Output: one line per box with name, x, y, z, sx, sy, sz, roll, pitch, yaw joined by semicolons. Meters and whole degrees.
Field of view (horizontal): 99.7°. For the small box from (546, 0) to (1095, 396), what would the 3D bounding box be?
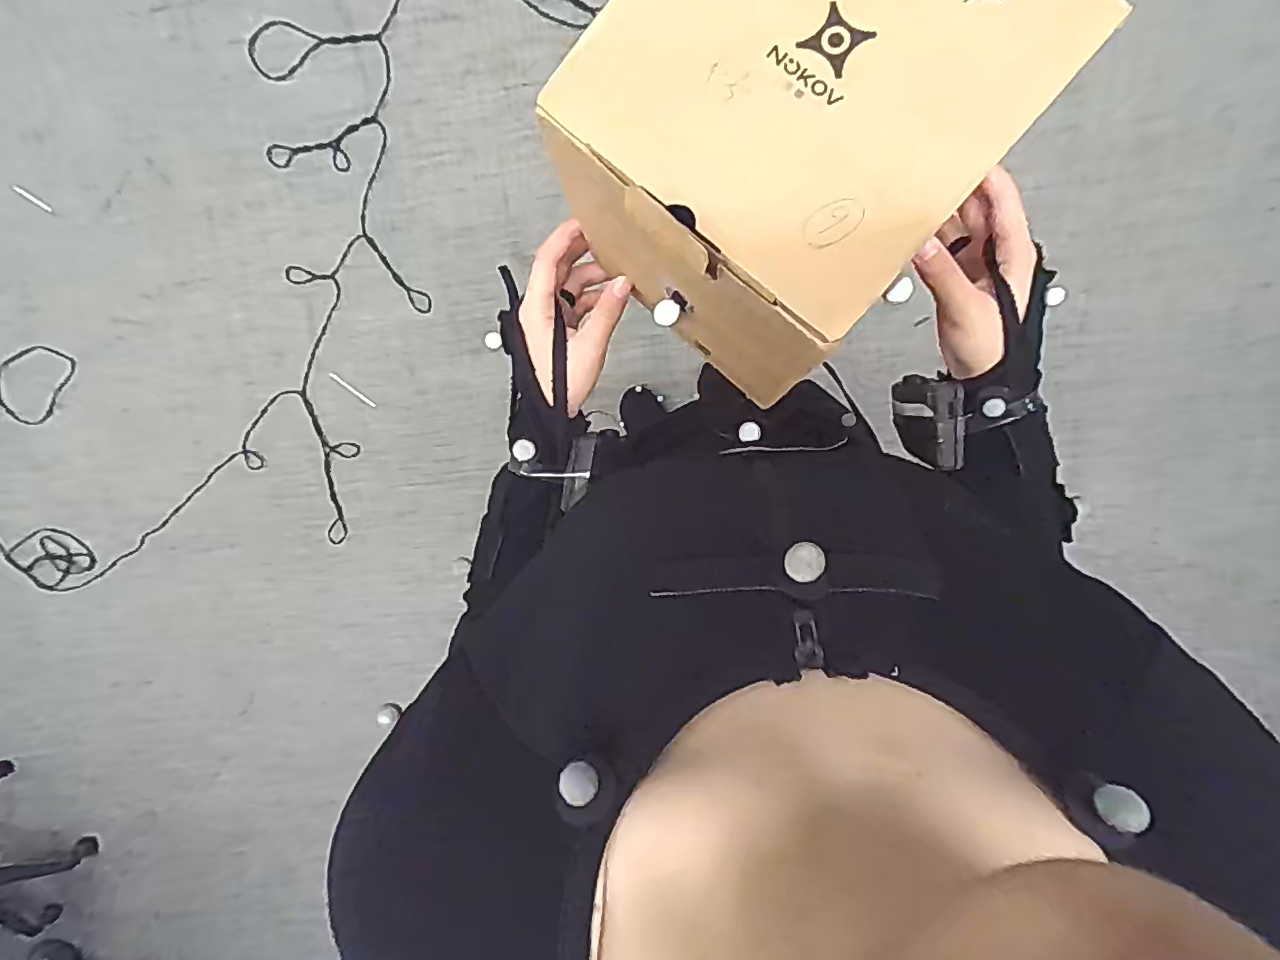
small box;0.080;-0.170;0.312;0.168;0.176;0.179;41;93;4
